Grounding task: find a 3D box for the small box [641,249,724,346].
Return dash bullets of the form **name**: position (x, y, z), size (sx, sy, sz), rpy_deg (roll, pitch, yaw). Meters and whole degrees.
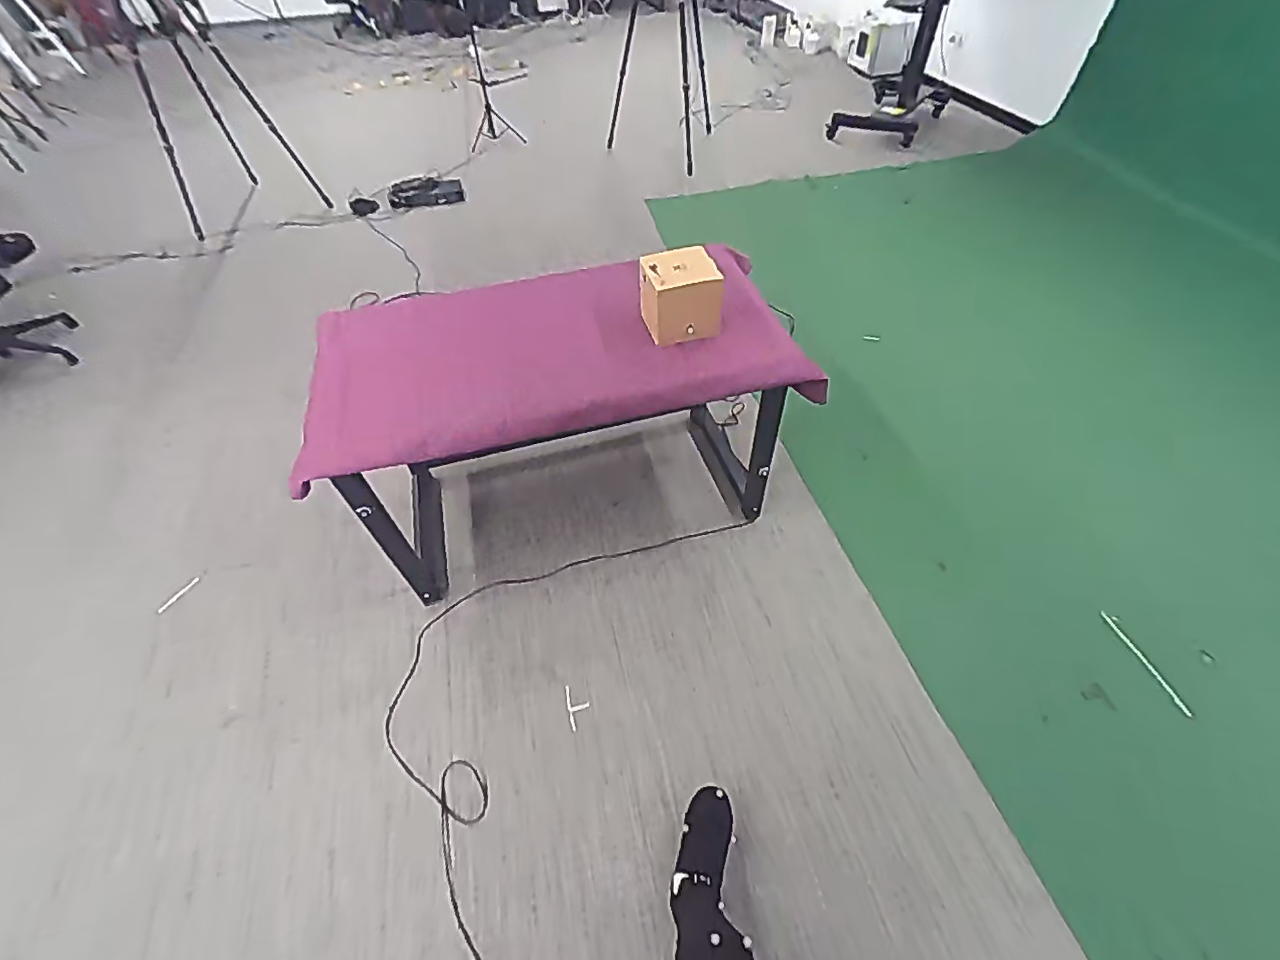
- **small box**: position (0.104, -0.473, 1.408), size (0.179, 0.176, 0.168), rpy_deg (-13, 51, -8)
